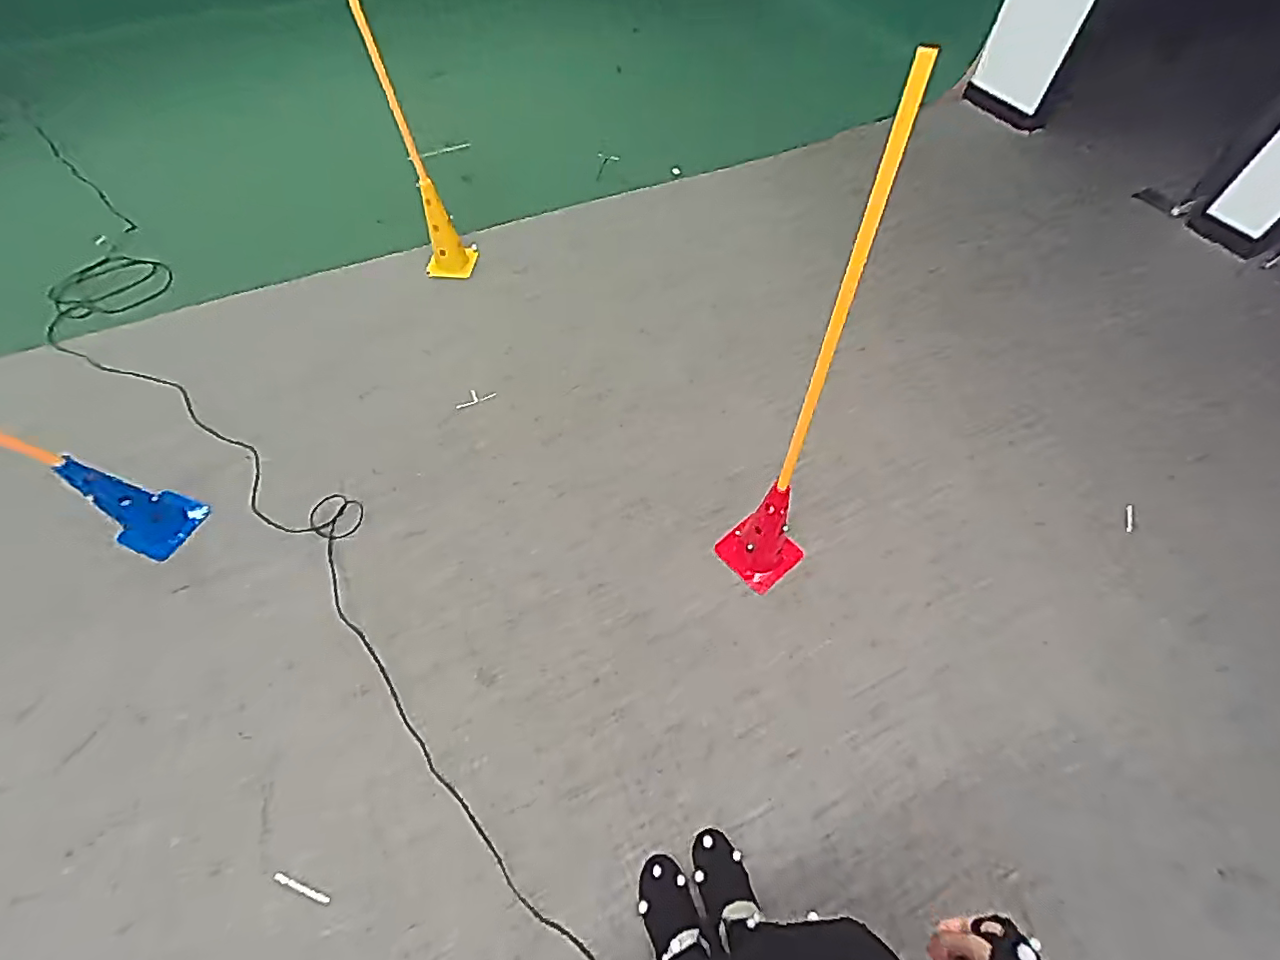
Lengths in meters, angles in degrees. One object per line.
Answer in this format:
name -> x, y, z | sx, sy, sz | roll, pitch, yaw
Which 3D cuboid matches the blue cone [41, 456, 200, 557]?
blue cone -> -1.465, 0.051, 1.505 | 0.192, 0.380, 0.193 | 18, 61, 11
